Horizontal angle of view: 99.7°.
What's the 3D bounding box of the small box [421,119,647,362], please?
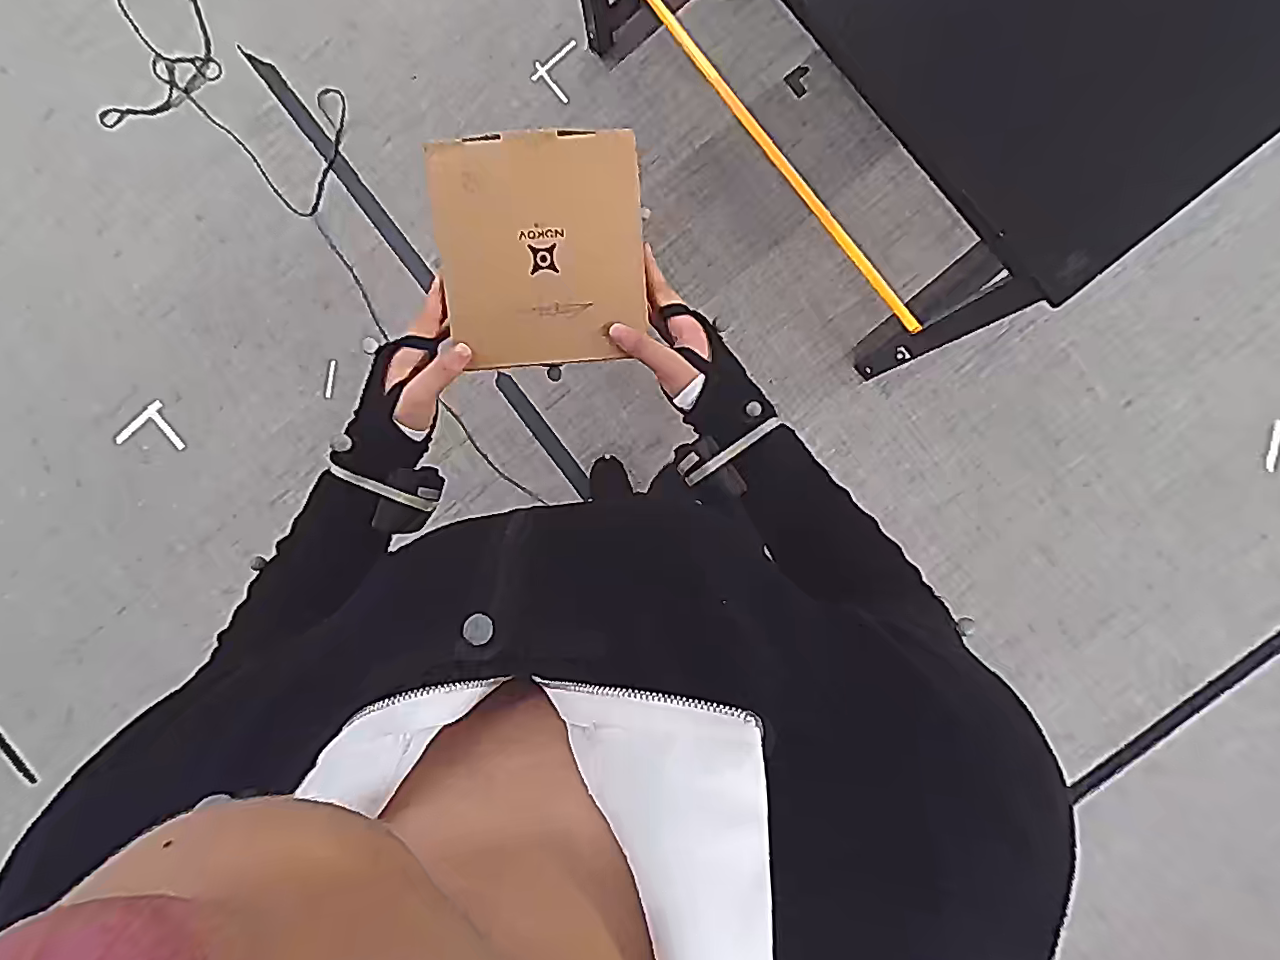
[{"bbox_3d":[-0.086,-0.203,0.504,0.168,0.176,0.179,-5,103,-3],"label":"small box"}]
